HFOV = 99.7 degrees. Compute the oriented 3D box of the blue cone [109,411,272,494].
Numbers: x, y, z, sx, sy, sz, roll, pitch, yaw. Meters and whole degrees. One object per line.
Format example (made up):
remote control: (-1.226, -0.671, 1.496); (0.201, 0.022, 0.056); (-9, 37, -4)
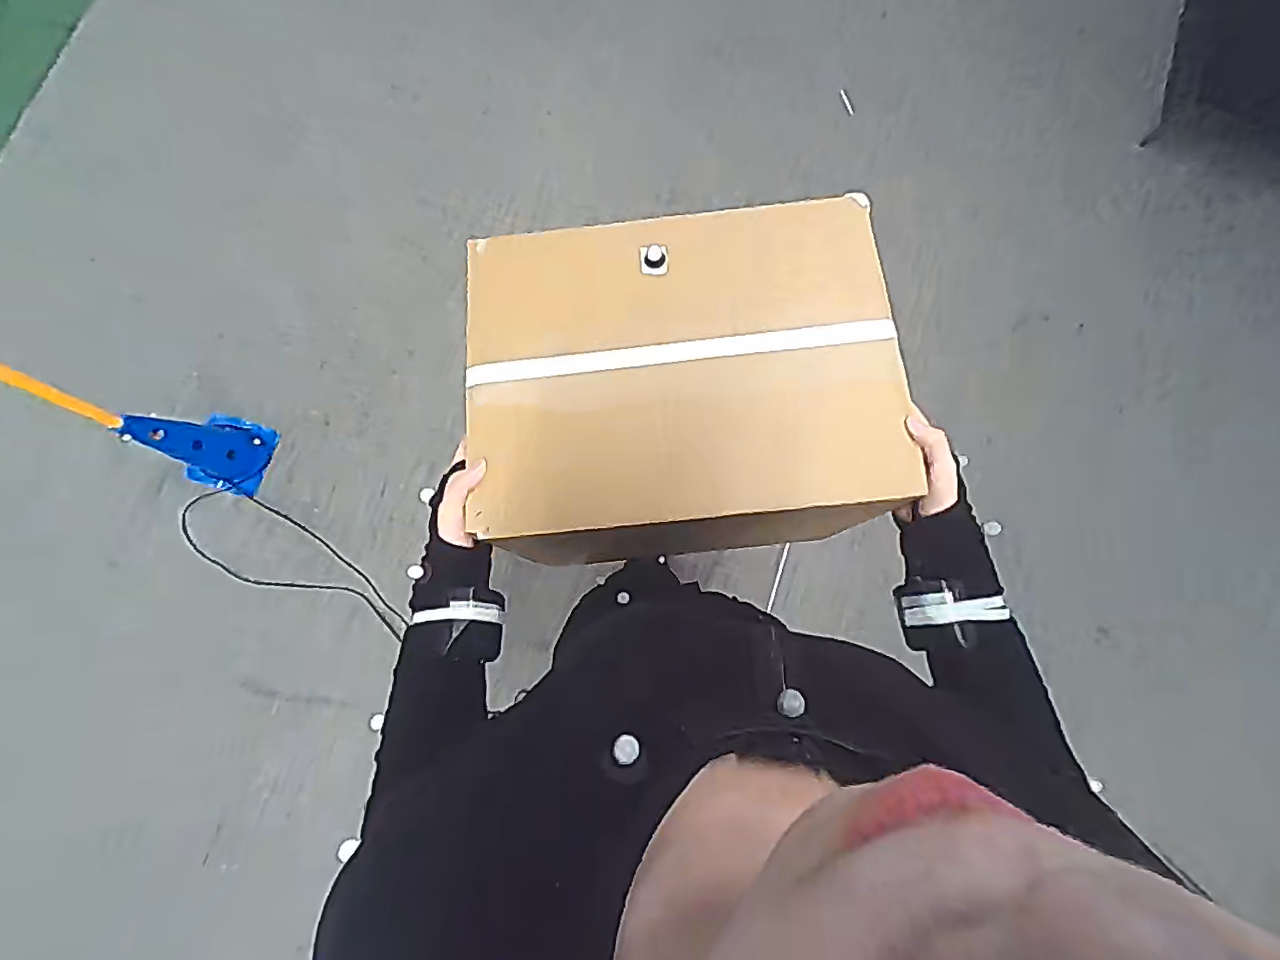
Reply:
blue cone: (-1.098, -0.096, 1.294); (0.192, 0.380, 0.193); (16, 80, -1)
